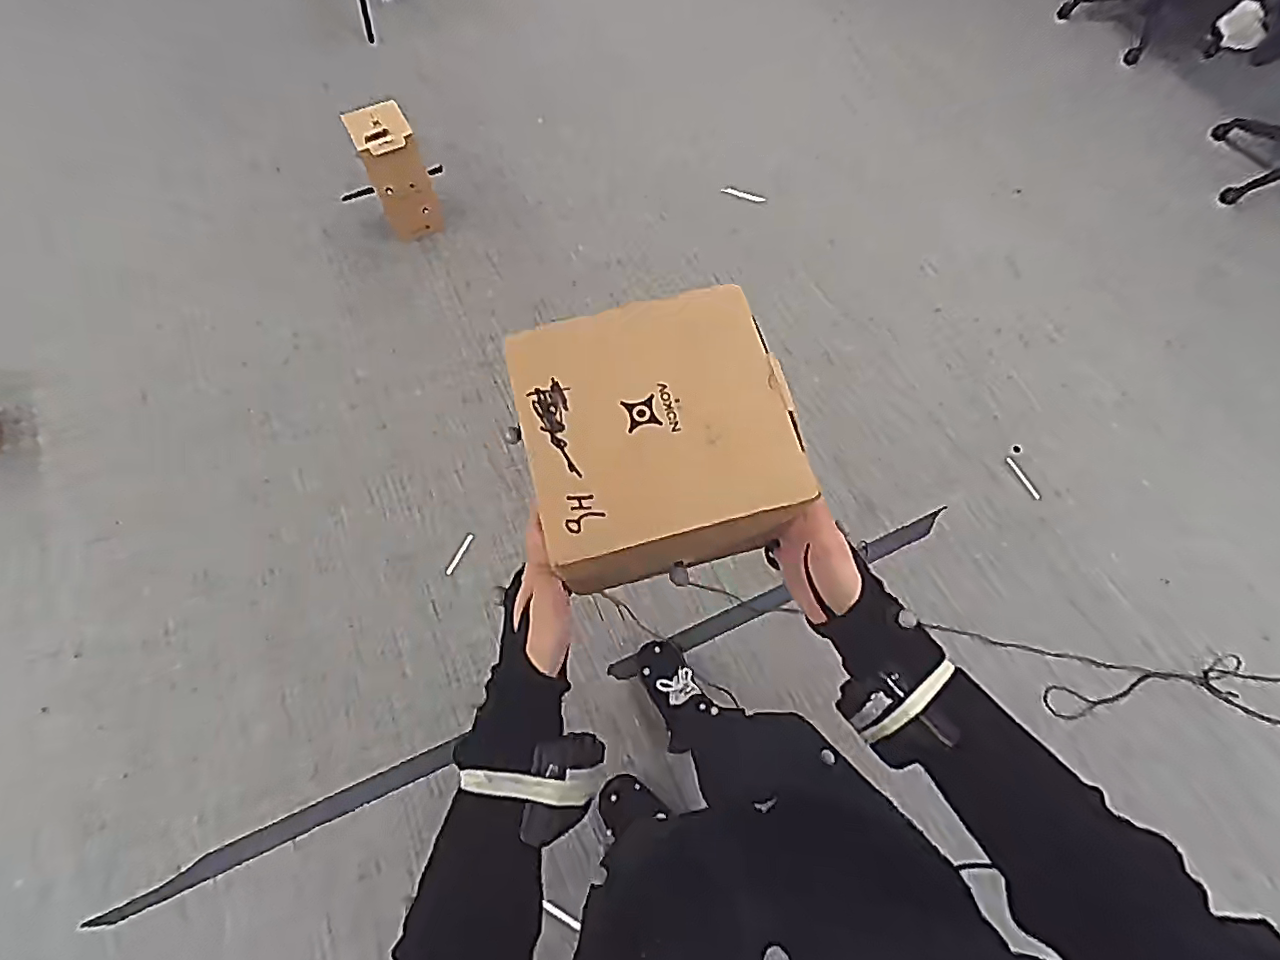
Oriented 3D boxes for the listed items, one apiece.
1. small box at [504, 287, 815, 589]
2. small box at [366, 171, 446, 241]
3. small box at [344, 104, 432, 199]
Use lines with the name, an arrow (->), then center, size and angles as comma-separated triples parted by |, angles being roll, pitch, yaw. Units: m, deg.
small box -> 0.006, -0.020, 0.429 | 0.179, 0.176, 0.168 | -13, 72, -6
small box -> -0.772, -0.927, 1.802 | 0.168, 0.176, 0.179 | -27, 70, -13
small box -> -0.762, -0.990, 1.650 | 0.168, 0.176, 0.179 | -26, 71, -12
